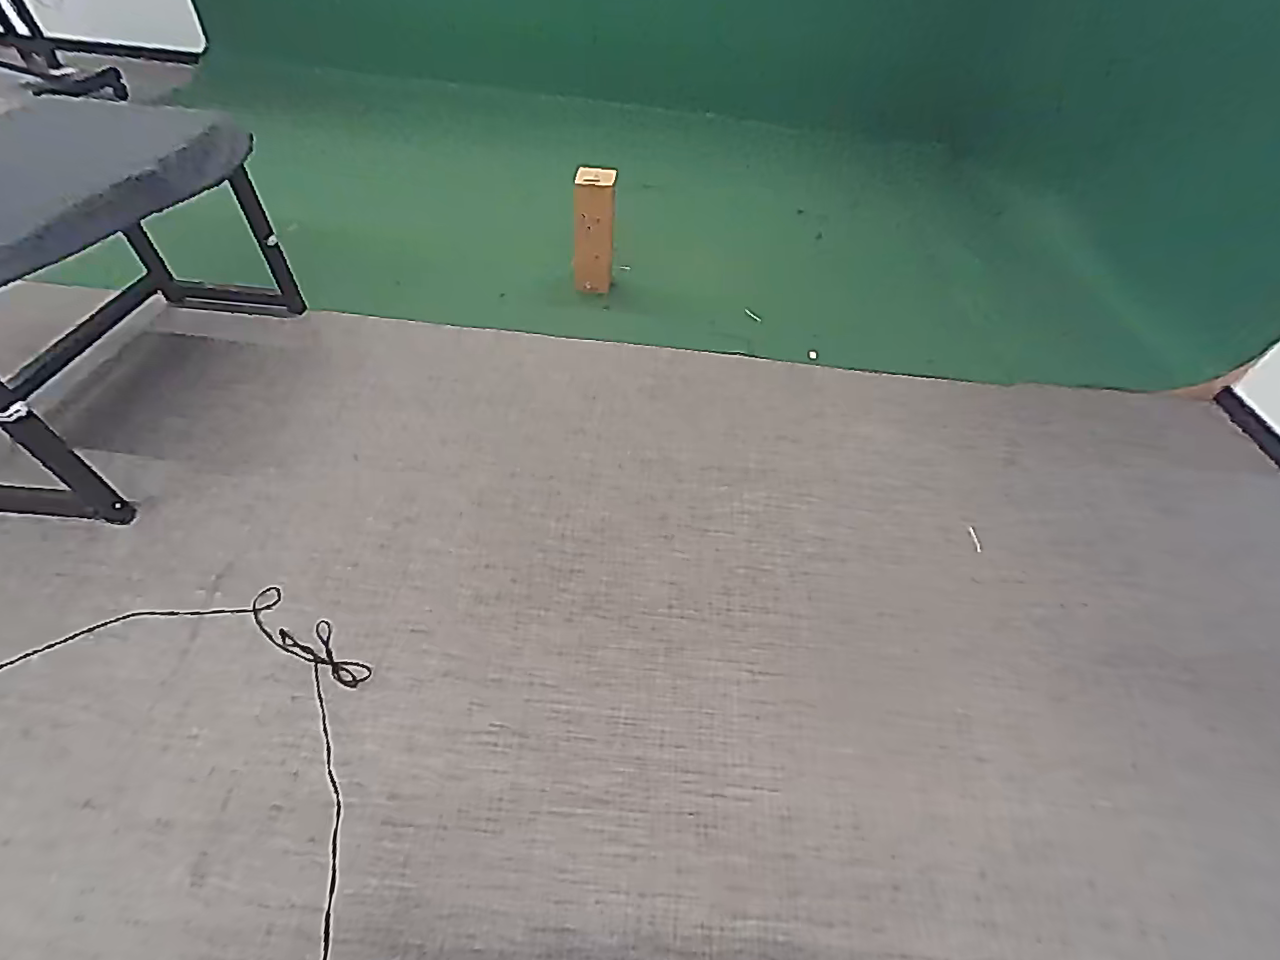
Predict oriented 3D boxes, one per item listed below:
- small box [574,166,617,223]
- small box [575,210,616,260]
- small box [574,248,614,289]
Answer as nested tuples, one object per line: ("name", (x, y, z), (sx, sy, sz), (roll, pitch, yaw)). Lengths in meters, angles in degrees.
("small box", (-0.193, -1.248, 2.367), (0.168, 0.176, 0.179), (5, 49, -1))
("small box", (-0.205, -1.141, 2.491), (0.168, 0.176, 0.179), (6, 49, 0))
("small box", (-0.220, -1.046, 2.601), (0.168, 0.176, 0.179), (6, 50, 2))
